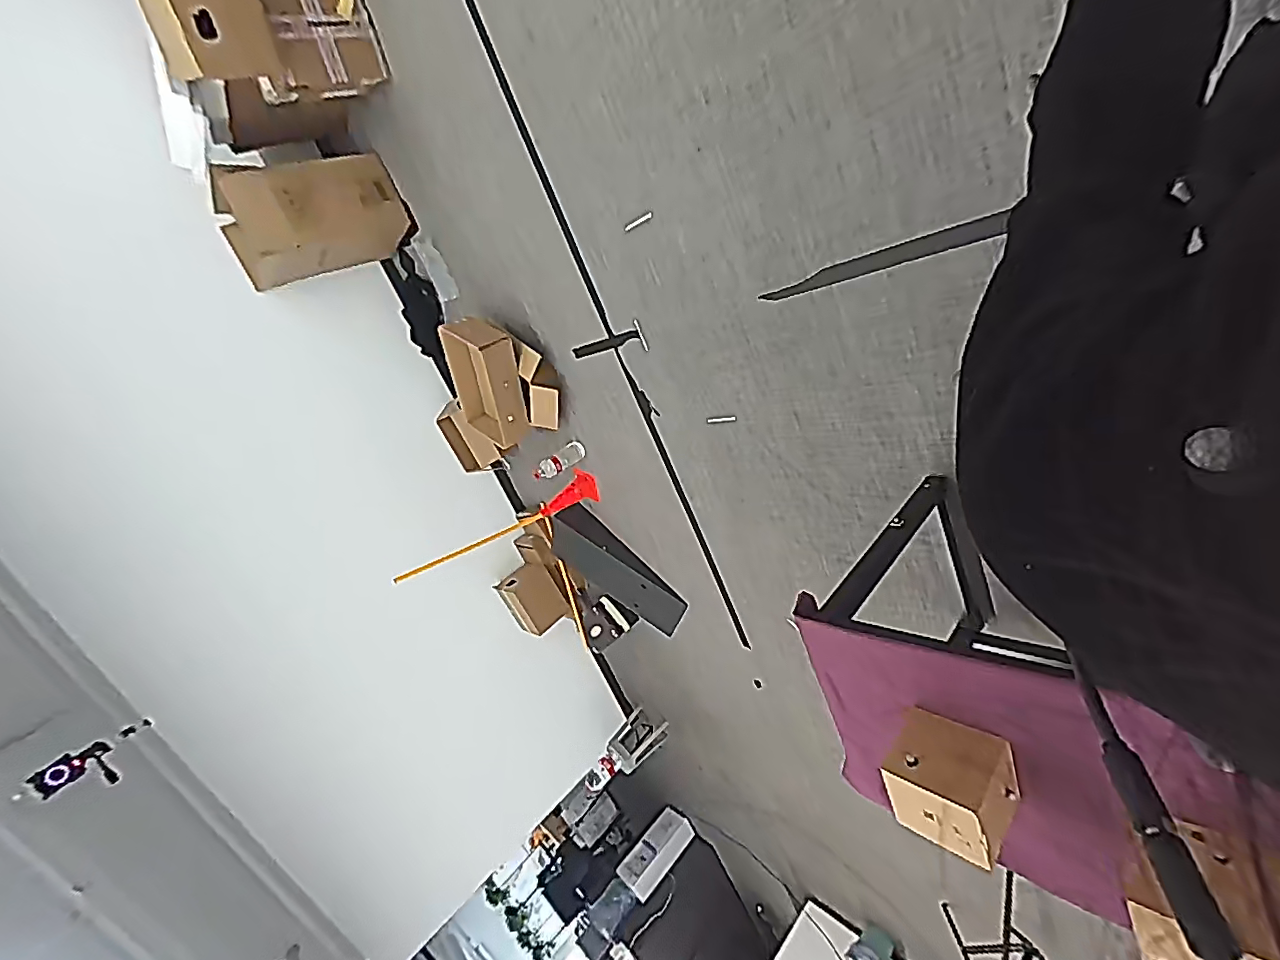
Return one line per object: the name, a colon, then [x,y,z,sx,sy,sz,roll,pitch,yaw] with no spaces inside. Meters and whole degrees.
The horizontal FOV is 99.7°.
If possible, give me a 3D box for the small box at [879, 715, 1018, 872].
small box: [0.602,0.594,1.053,0.179,0.176,0.168,3,123,51]
